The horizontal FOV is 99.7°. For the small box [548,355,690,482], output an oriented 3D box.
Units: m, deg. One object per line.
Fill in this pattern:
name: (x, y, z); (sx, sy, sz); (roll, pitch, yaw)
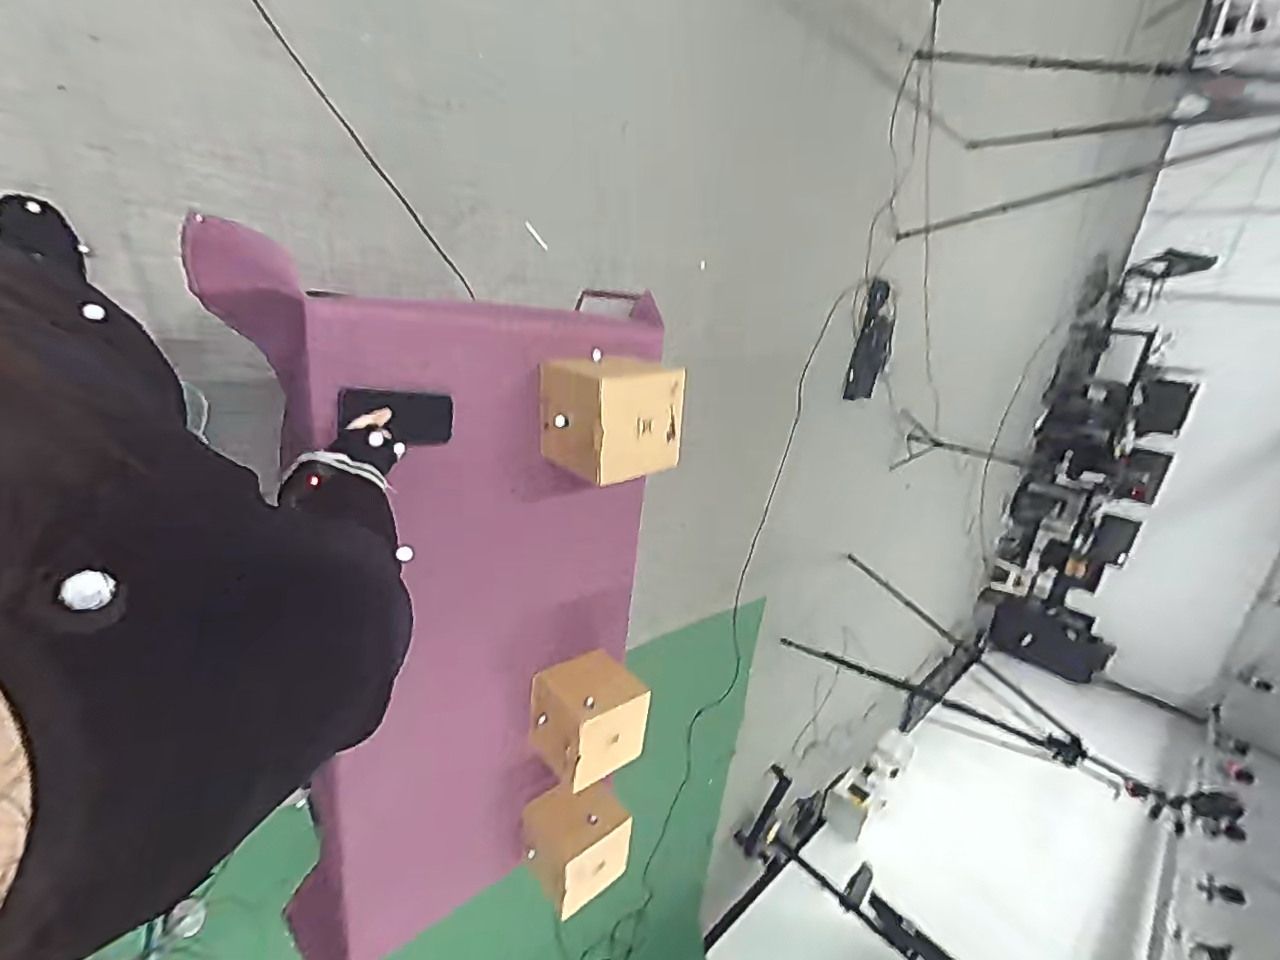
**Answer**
small box: (-0.042, -0.111, 0.905); (0.179, 0.176, 0.168); (-14, 118, -38)

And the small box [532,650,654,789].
small box: (-0.099, 0.479, 1.115); (0.179, 0.176, 0.168); (-7, 113, -41)

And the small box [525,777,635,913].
small box: (-0.136, 0.793, 1.212); (0.179, 0.176, 0.168); (-9, 113, -40)
